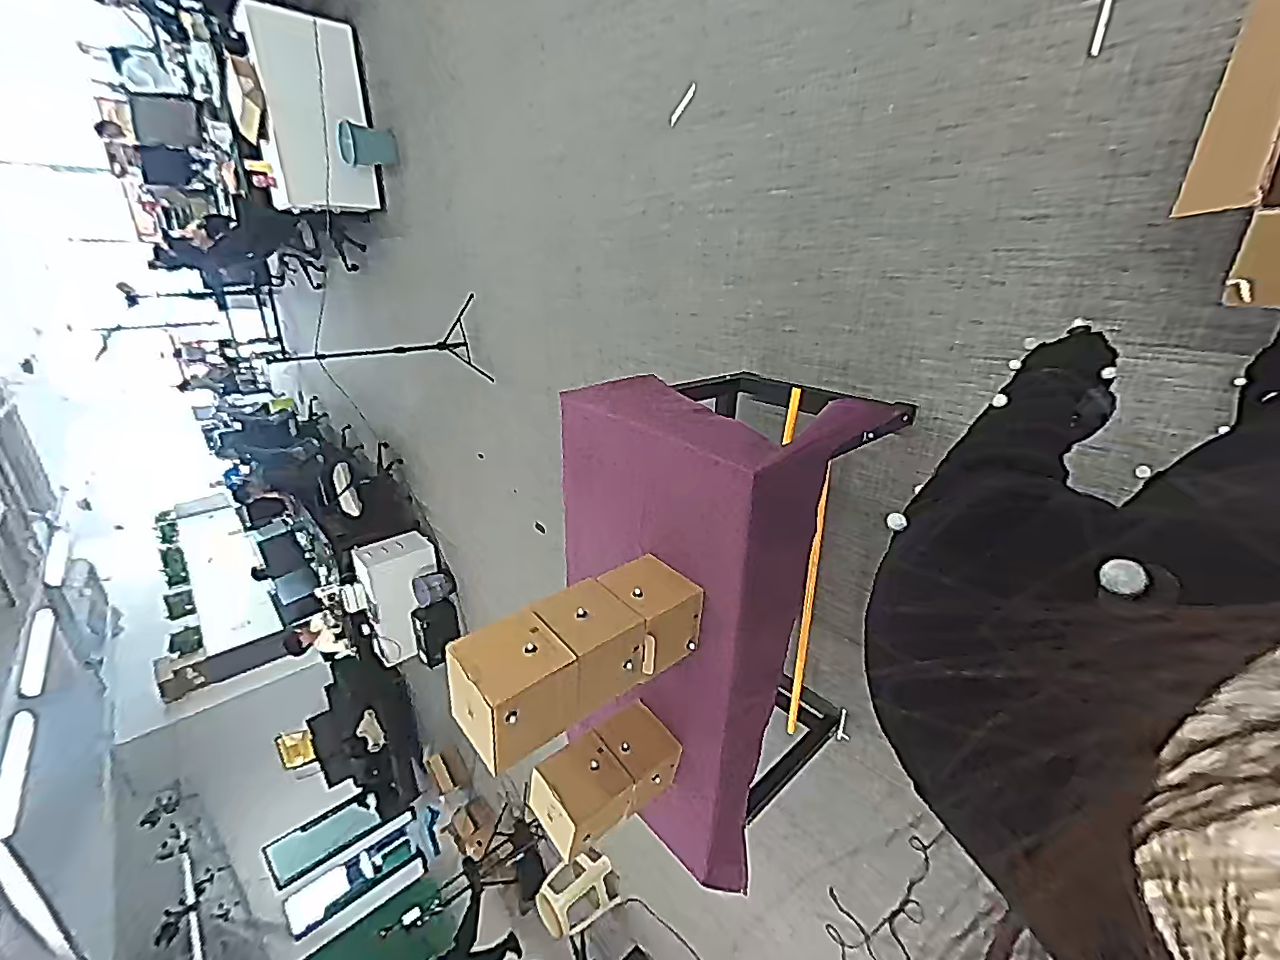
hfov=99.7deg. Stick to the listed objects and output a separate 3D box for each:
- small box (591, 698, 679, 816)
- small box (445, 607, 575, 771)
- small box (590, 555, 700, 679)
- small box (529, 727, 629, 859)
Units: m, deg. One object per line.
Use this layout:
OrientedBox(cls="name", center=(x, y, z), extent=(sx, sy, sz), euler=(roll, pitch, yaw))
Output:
OrientedBox(cls="small box", center=(-0.023, 0.699, 1.384), extent=(0.179, 0.176, 0.168), euler=(37, 129, 36))
OrientedBox(cls="small box", center=(-0.229, 0.363, 0.967), extent=(0.168, 0.176, 0.179), euler=(31, 126, 39))
OrientedBox(cls="small box", center=(0.010, 0.285, 1.175), extent=(0.179, 0.176, 0.168), euler=(29, 125, 42))
OrientedBox(cls="small box", center=(-0.145, 0.734, 1.280), extent=(0.168, 0.176, 0.179), euler=(37, 129, 35))
